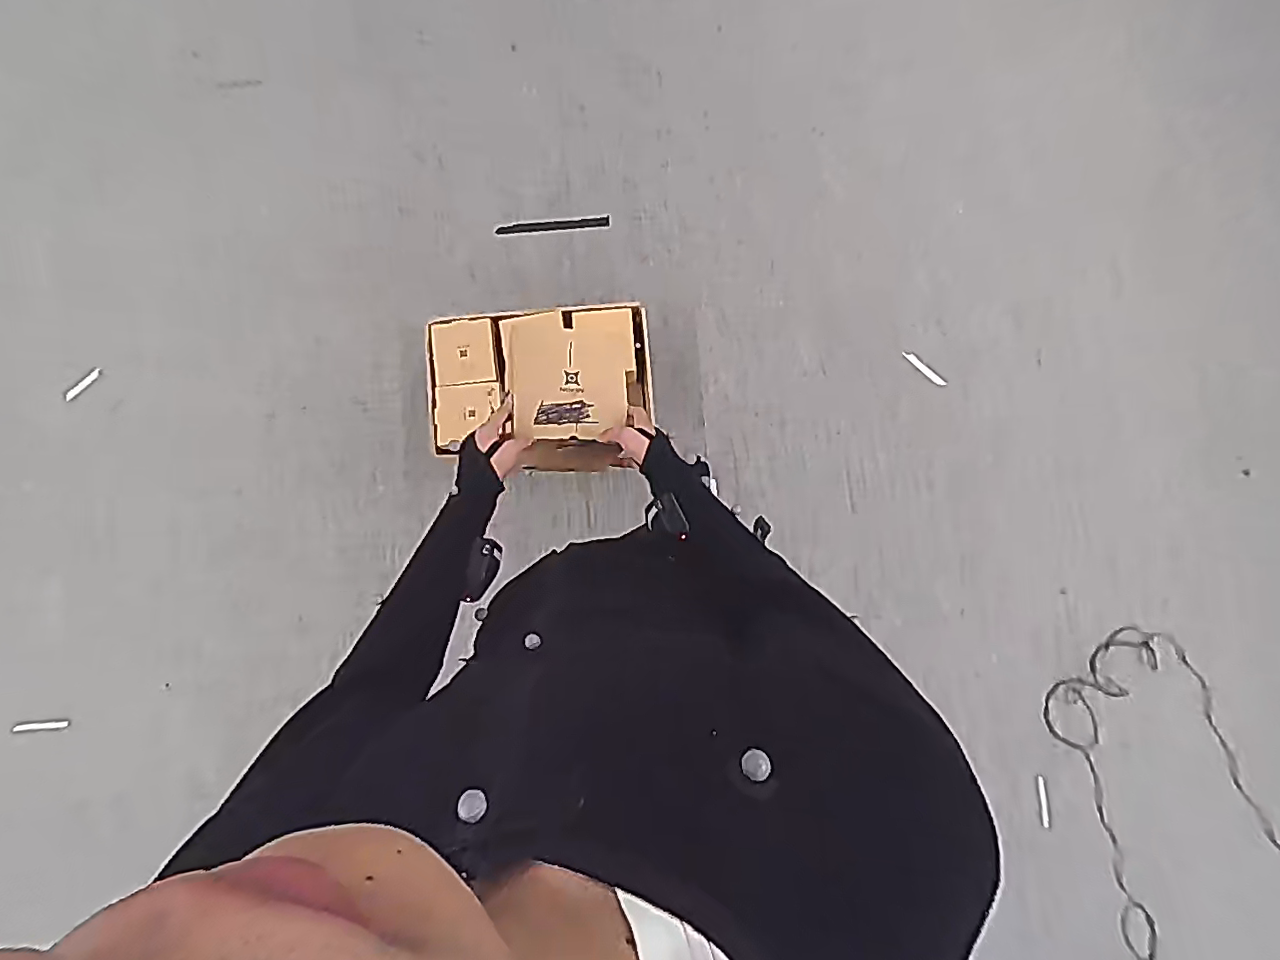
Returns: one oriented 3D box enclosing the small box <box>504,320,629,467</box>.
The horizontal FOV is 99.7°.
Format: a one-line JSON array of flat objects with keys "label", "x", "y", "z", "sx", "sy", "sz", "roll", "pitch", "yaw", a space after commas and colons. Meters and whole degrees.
[{"label": "small box", "x": -0.120, "y": -0.122, "z": 0.837, "sx": 0.168, "sy": 0.176, "sz": 0.179, "roll": 0, "pitch": 76, "yaw": -18}]
